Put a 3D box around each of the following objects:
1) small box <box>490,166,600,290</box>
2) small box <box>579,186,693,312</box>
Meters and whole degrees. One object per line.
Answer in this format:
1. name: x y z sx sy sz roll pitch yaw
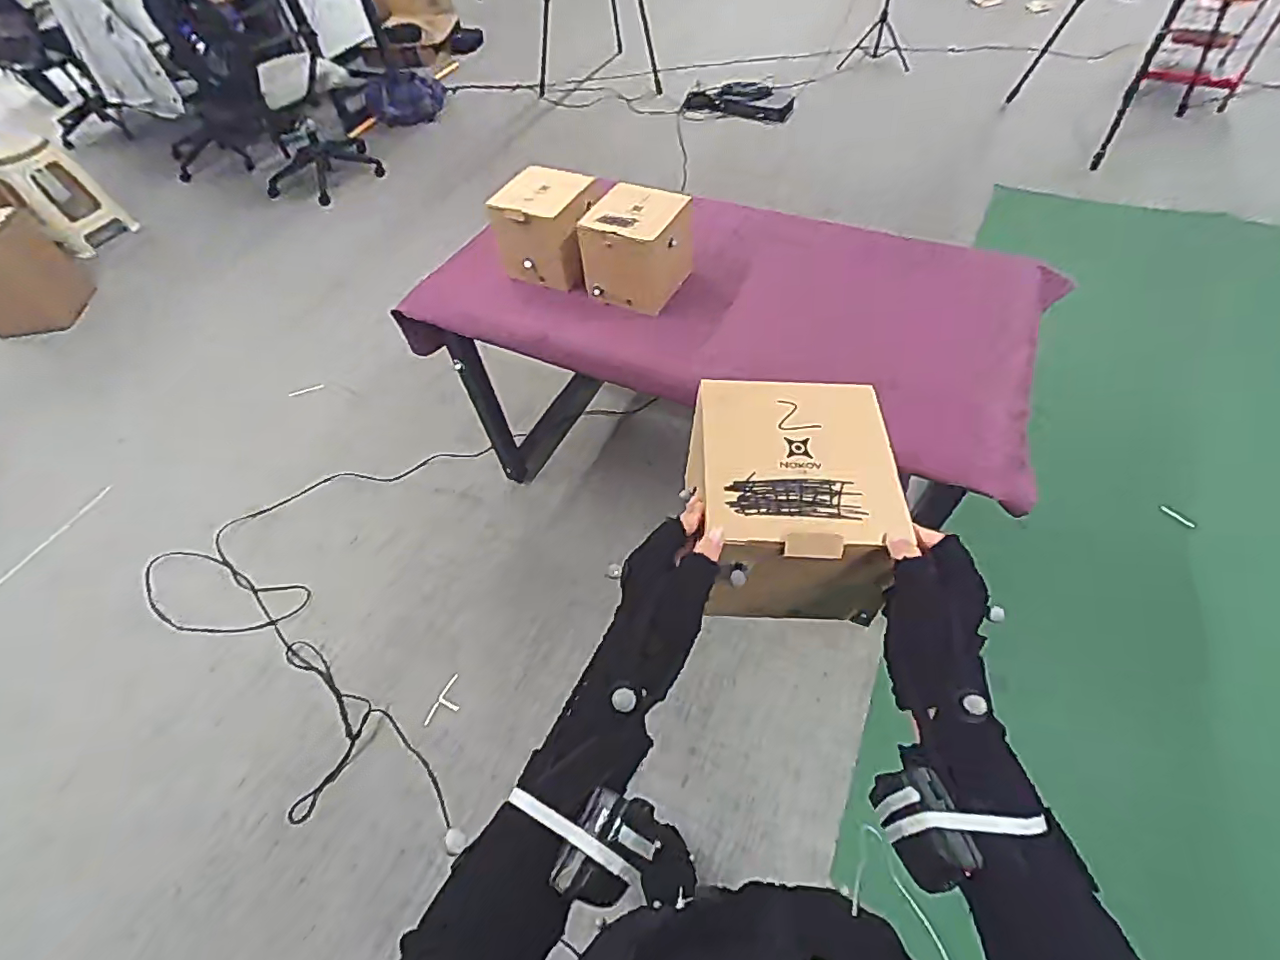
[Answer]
1. small box: -0.193 -0.548 1.178 0.168 0.176 0.179 20 60 19
2. small box: 0.003 -0.473 1.114 0.168 0.176 0.179 18 61 21
